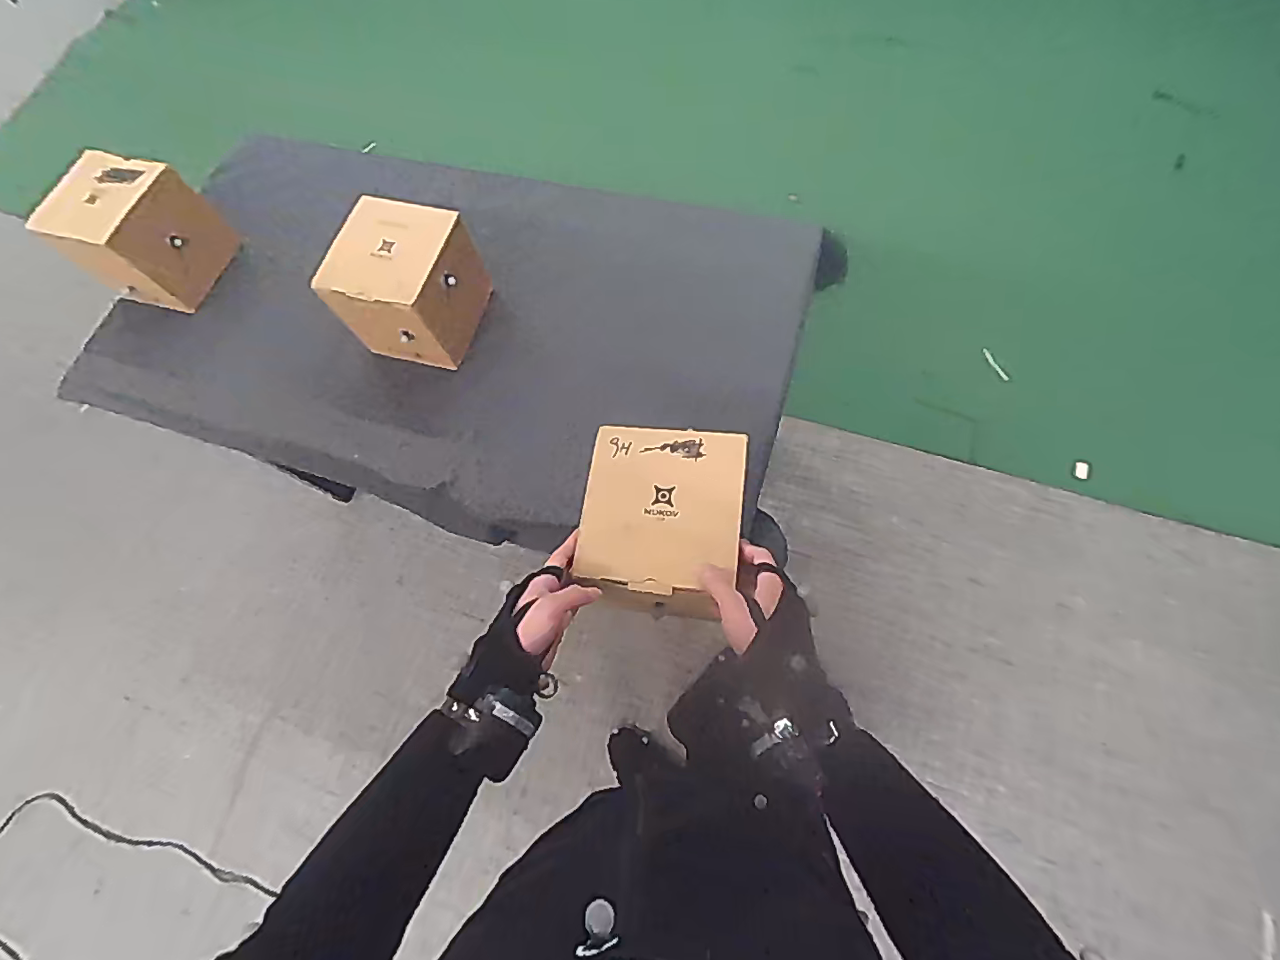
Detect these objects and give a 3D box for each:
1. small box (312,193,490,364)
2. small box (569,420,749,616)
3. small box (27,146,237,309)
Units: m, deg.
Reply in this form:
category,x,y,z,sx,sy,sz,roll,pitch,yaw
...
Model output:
category,x,y,z,sx,sy,sz,roll,pitch,yaw
small box,-0.358,-0.308,0.850,0.168,0.176,0.179,14,70,9
small box,0.033,0.051,0.619,0.168,0.176,0.179,5,68,10
small box,-0.854,-0.430,0.935,0.168,0.176,0.179,15,71,10
